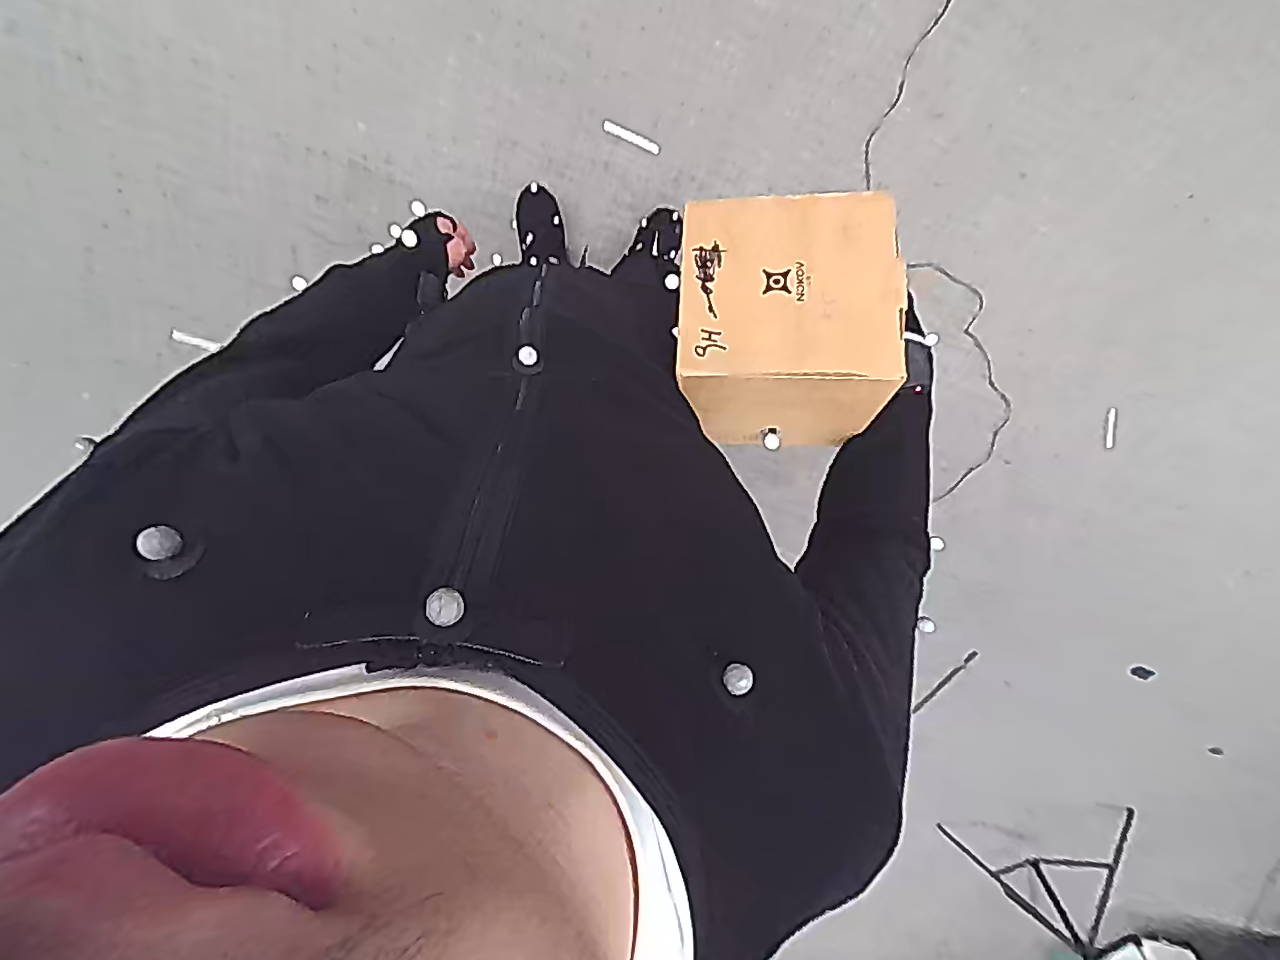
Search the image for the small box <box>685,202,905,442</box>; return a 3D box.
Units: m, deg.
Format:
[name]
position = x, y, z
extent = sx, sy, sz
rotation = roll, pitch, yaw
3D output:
[small box]
position = 0.137, -0.141, 0.529
extent = 0.179, 0.176, 0.168
rotation = 2, 75, 8
